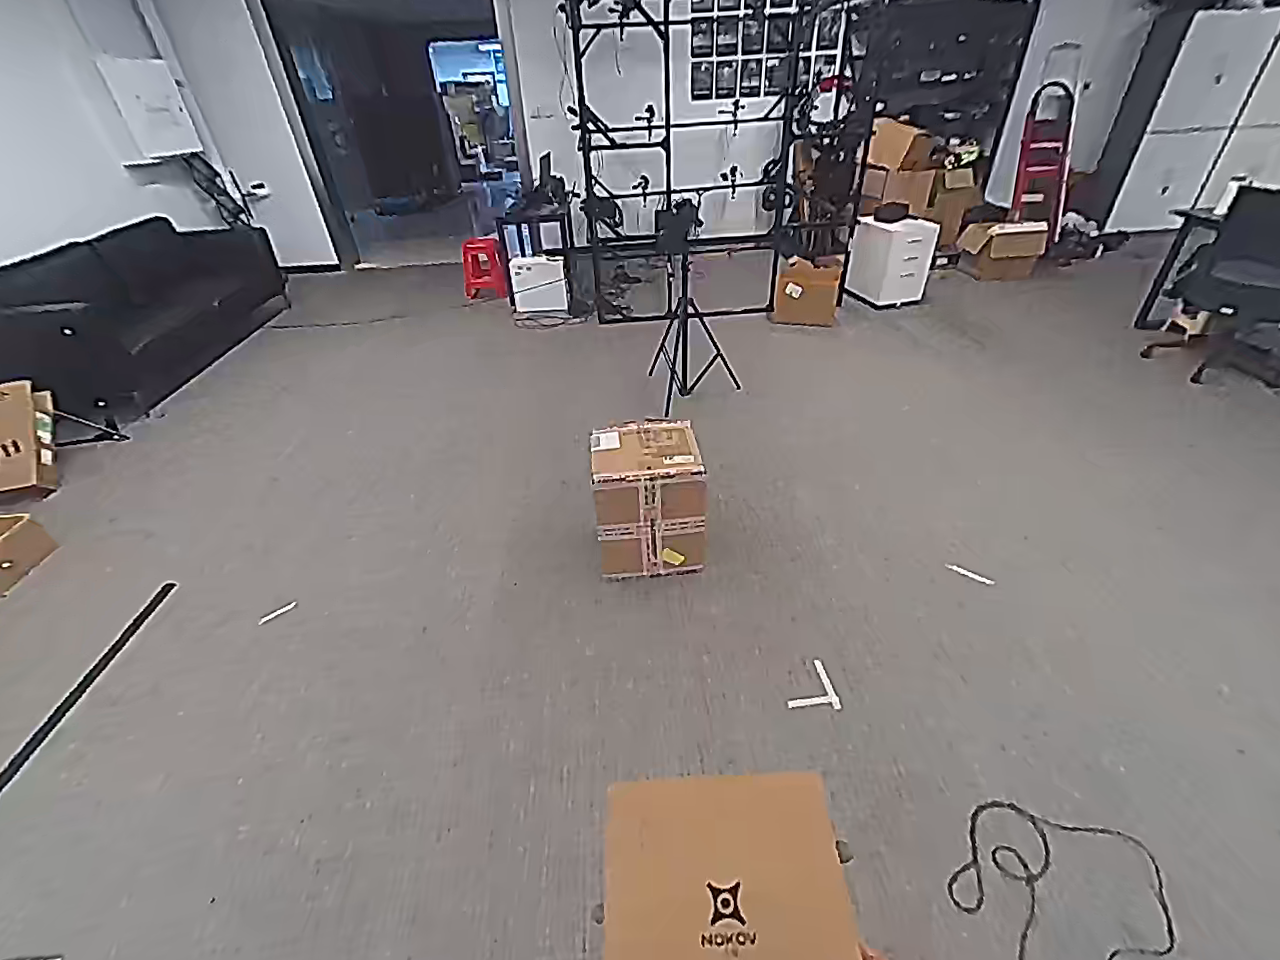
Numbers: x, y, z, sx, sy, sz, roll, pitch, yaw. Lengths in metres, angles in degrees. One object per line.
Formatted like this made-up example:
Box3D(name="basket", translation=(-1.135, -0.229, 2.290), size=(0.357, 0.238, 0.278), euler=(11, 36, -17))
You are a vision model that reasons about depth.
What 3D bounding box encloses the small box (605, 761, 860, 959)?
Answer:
Box3D(name="small box", translation=(0.066, 0.344, 0.422), size=(0.168, 0.176, 0.179), euler=(-5, 44, 4))
